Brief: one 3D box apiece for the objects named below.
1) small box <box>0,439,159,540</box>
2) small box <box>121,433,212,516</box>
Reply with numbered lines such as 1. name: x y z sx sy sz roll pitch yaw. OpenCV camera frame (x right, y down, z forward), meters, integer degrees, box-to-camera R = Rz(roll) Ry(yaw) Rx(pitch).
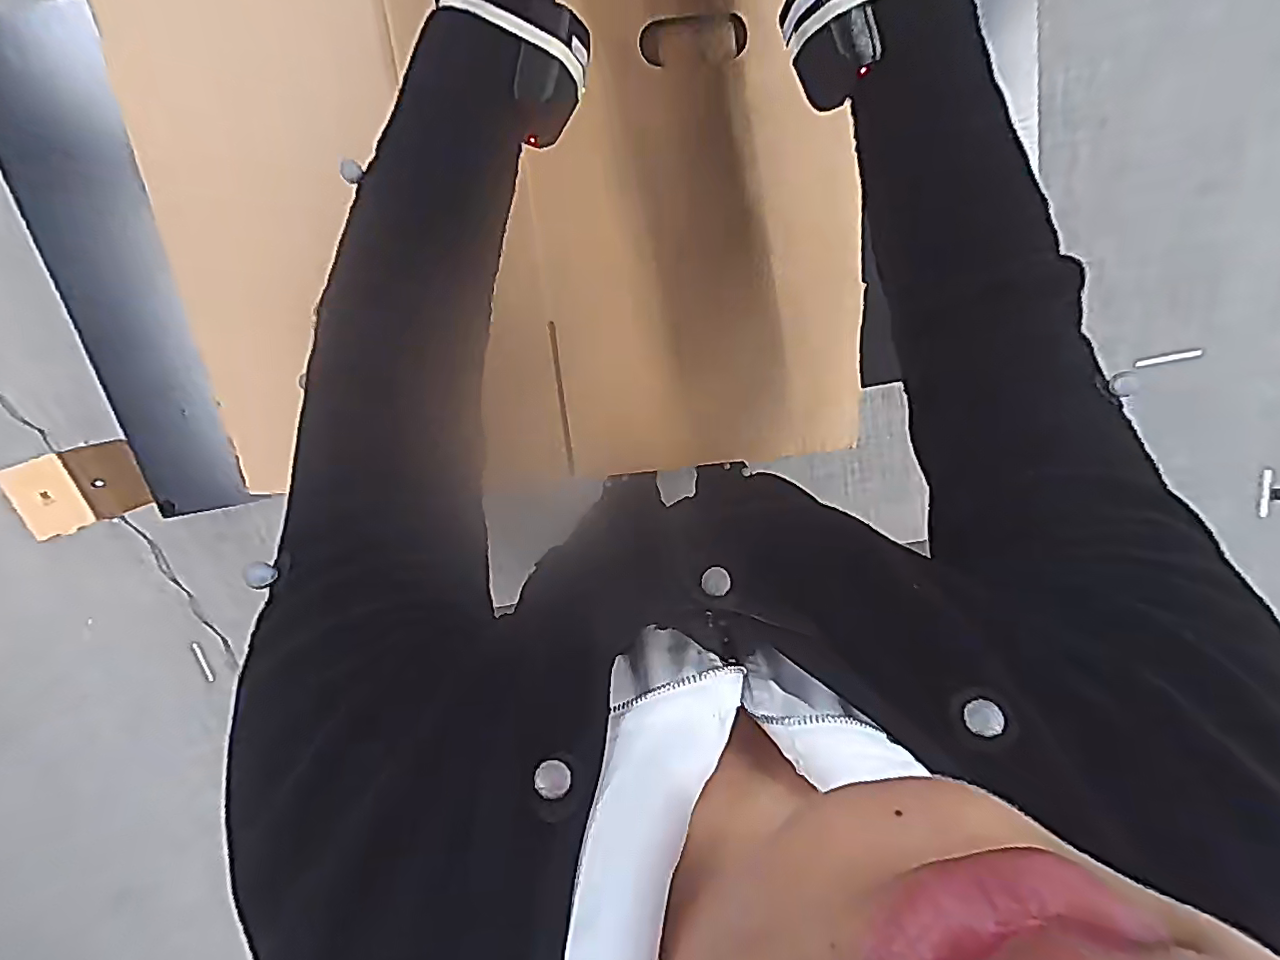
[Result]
1. small box: -1.329 0.018 1.298 0.168 0.176 0.179 -17 104 6
2. small box: -1.322 -0.021 1.456 0.168 0.176 0.179 -14 106 6
